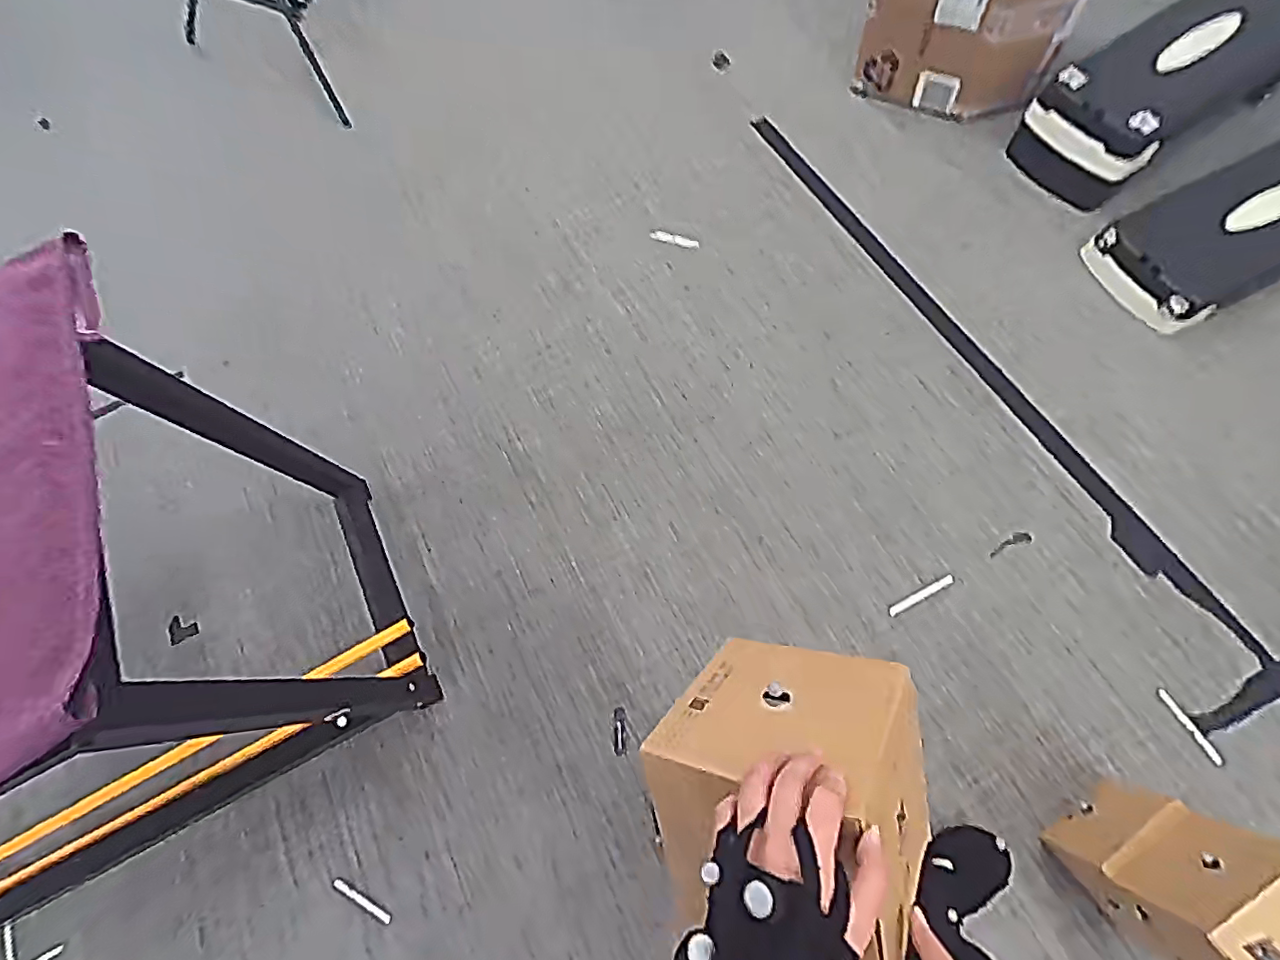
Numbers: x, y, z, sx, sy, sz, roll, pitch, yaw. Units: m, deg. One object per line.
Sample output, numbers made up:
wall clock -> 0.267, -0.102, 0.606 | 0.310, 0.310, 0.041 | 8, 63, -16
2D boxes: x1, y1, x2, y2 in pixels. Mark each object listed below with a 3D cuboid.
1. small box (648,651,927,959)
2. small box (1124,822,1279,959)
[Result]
small box -> 0.125, 0.259, 0.448 | 0.176, 0.168, 0.179 | -2, 106, 38
small box -> 0.800, 0.593, 0.707 | 0.179, 0.176, 0.168 | -33, 71, -6
